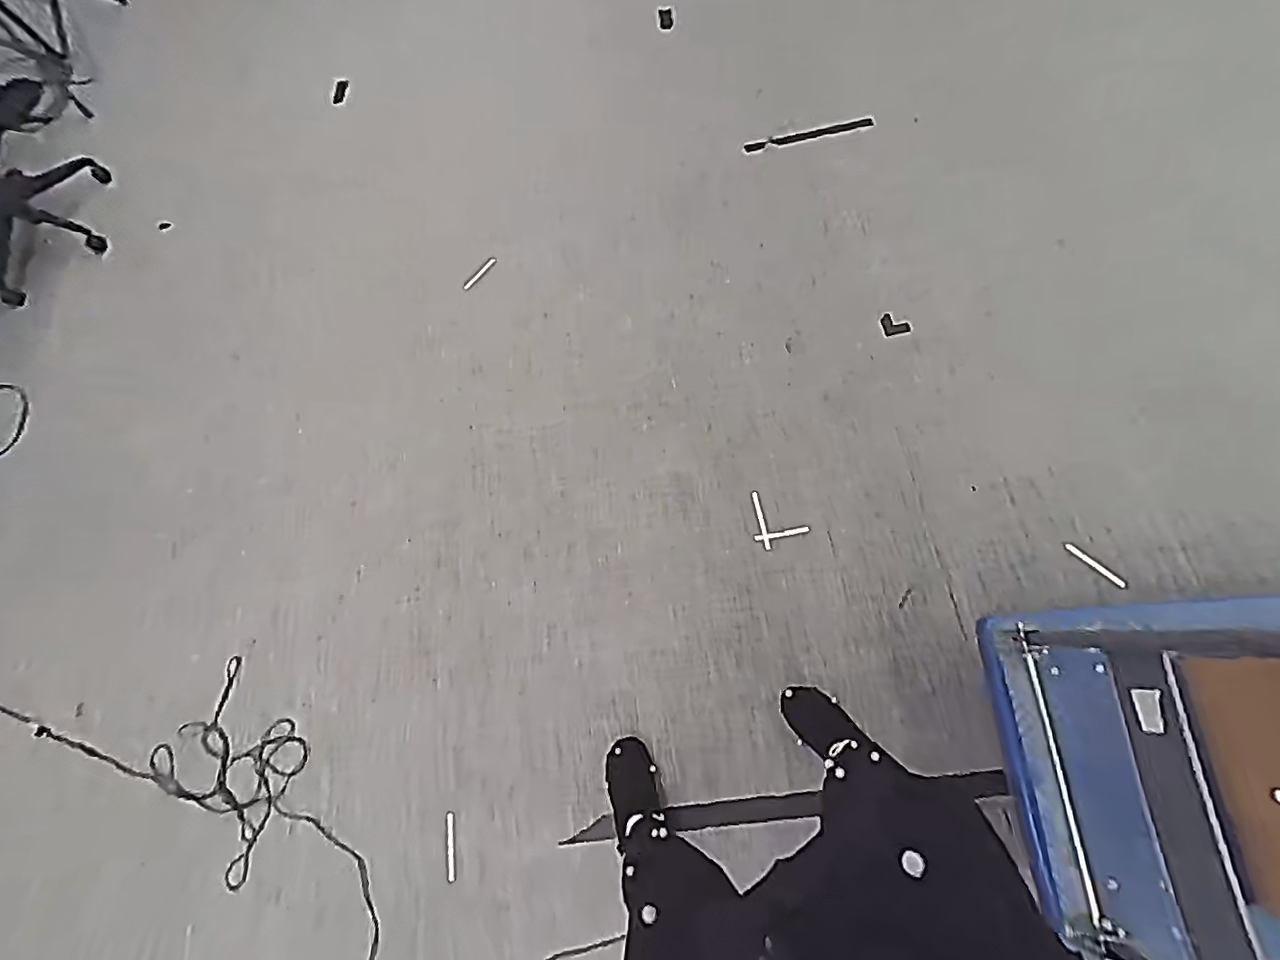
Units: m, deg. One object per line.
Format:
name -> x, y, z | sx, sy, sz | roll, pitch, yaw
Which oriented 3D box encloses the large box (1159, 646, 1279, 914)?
large box -> 1.134, 0.464, 0.825 | 0.320, 0.320, 0.408 | -6, 71, 7
